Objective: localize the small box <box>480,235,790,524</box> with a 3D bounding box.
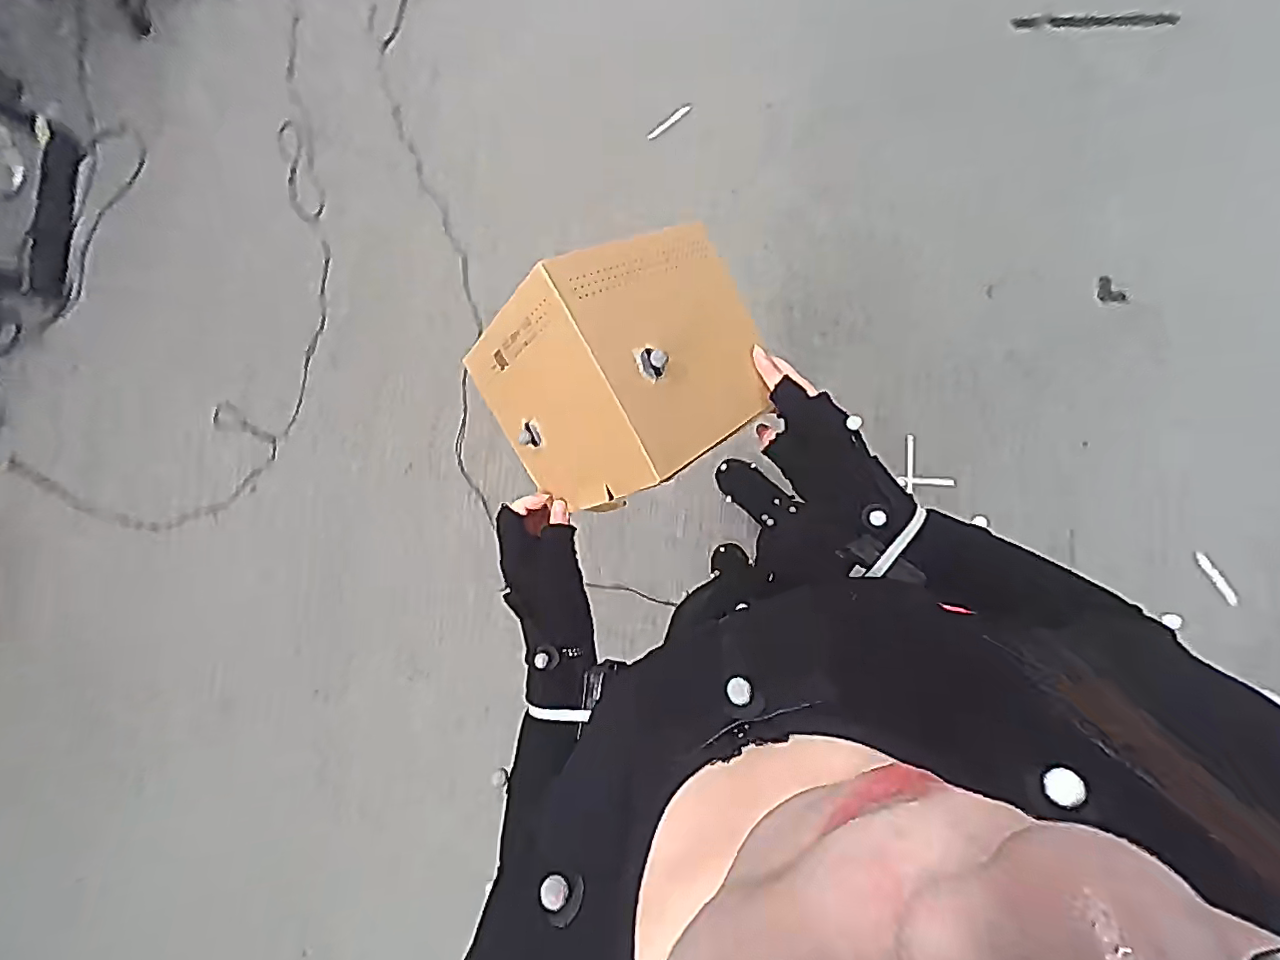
[{"bbox_3d":[-0.009,-0.085,0.474,0.179,0.168,0.176,-33,98,-37],"label":"small box"}]
